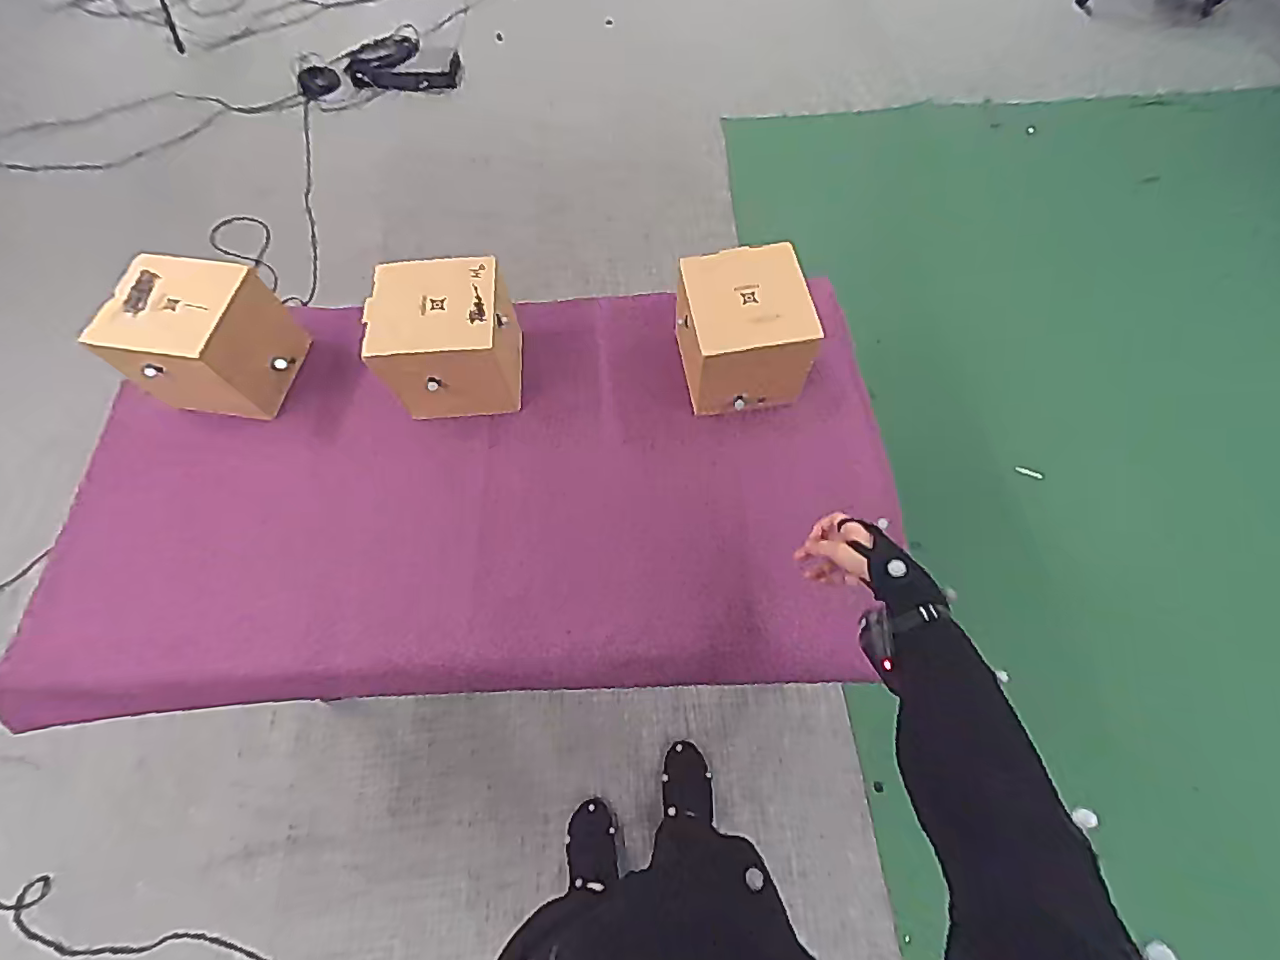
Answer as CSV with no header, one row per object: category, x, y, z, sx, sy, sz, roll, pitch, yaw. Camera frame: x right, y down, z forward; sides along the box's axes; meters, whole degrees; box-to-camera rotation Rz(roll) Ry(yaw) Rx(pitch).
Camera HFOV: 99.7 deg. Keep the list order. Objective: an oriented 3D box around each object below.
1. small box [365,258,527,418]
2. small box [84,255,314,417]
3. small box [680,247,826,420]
small box,-0.279,-0.205,0.815,0.179,0.176,0.168,-4,67,0
small box,-0.648,-0.211,0.823,0.179,0.176,0.168,8,66,4
small box,0.155,-0.214,0.810,0.168,0.176,0.179,-8,66,-1
